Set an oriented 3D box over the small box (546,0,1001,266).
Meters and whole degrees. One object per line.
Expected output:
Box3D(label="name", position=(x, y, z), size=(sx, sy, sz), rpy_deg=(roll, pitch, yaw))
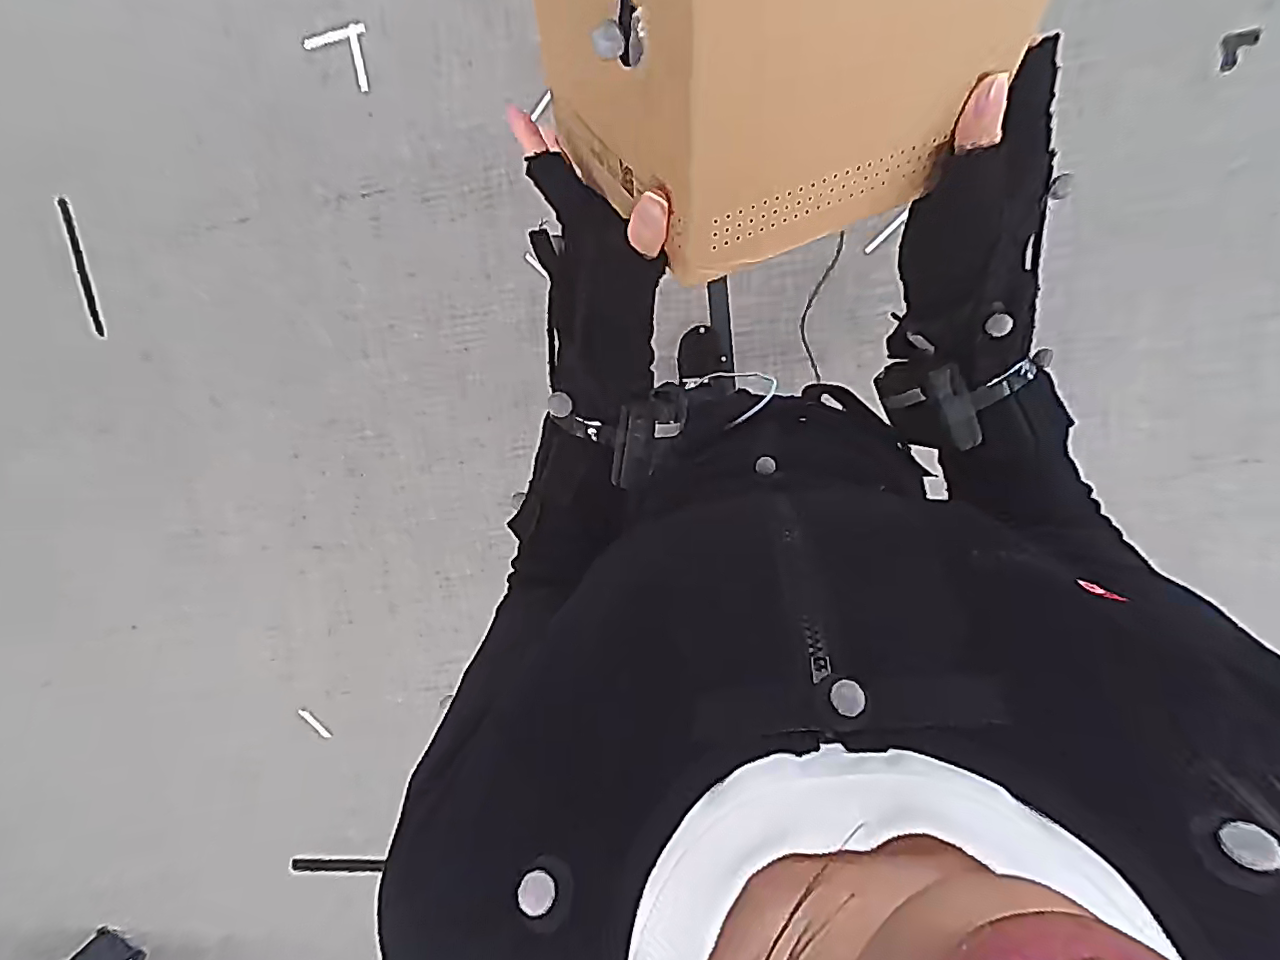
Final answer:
Box3D(label="small box", position=(0.056, -0.236, 0.263), size=(0.179, 0.176, 0.168), rpy_deg=(-25, 60, -11))
